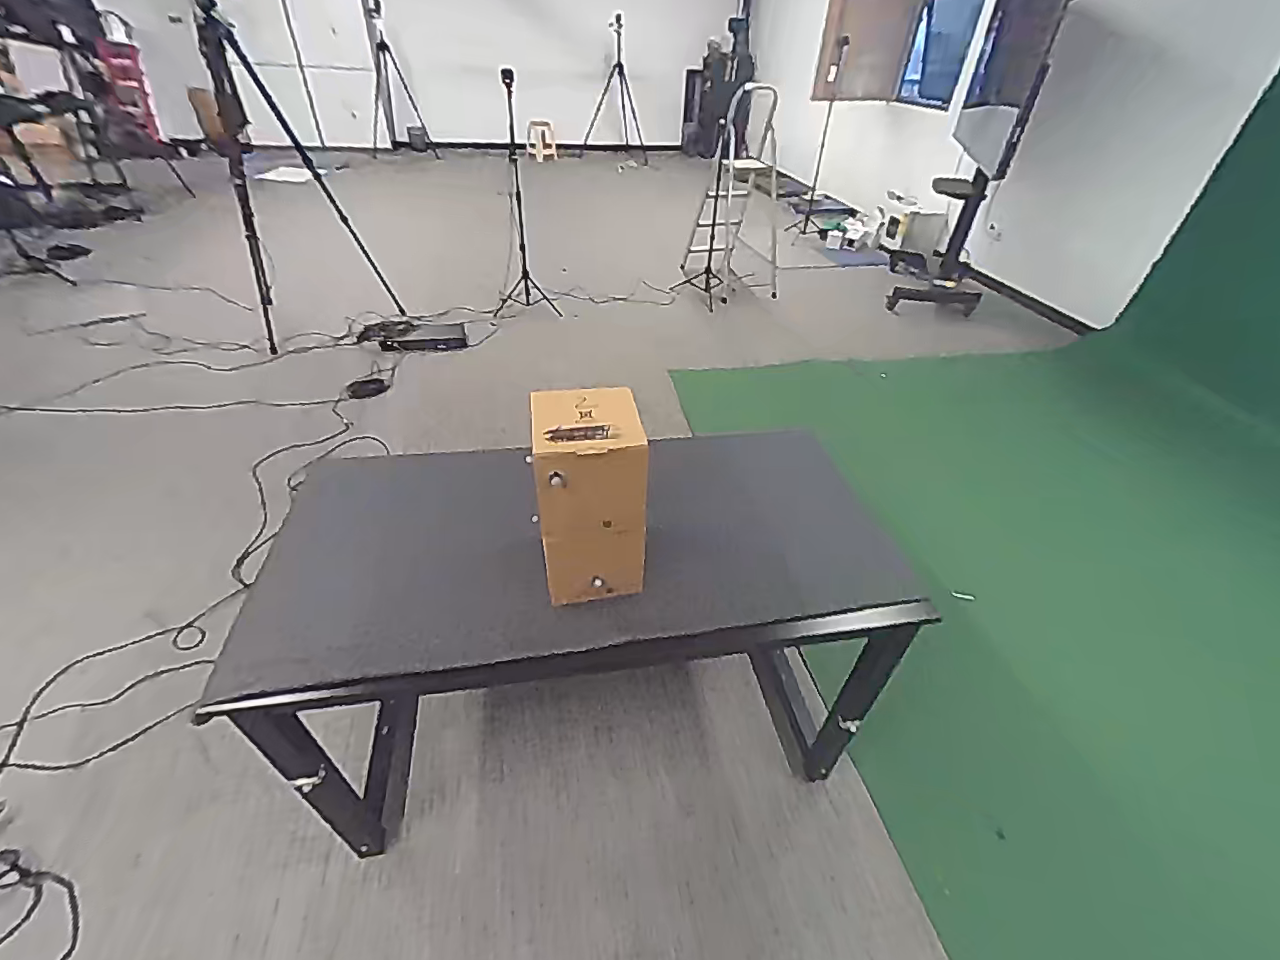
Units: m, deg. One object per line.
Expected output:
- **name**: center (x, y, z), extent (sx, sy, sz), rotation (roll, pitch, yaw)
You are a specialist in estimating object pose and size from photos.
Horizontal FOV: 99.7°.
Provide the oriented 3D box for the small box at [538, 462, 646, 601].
- **small box**: center (-0.090, 0.090, 0.973), extent (0.168, 0.176, 0.179), rotation (-7, 40, -12)
